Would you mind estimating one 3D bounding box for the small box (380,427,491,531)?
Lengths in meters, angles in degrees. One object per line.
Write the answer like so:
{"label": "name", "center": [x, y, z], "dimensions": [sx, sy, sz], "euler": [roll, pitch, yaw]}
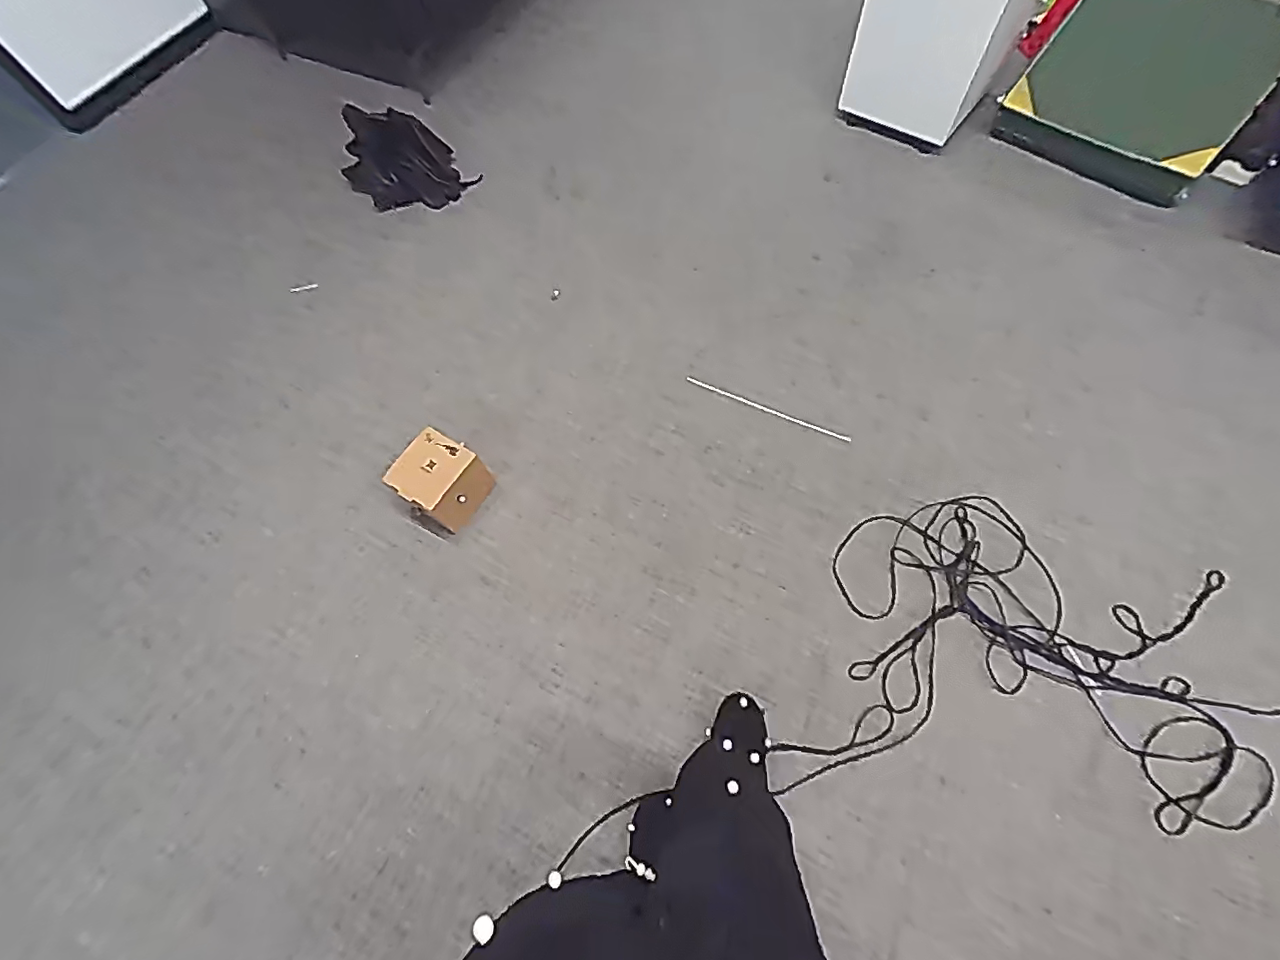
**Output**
{"label": "small box", "center": [-0.508, 0.004, 1.376], "dimensions": [0.168, 0.176, 0.179], "euler": [28, 71, 15]}
